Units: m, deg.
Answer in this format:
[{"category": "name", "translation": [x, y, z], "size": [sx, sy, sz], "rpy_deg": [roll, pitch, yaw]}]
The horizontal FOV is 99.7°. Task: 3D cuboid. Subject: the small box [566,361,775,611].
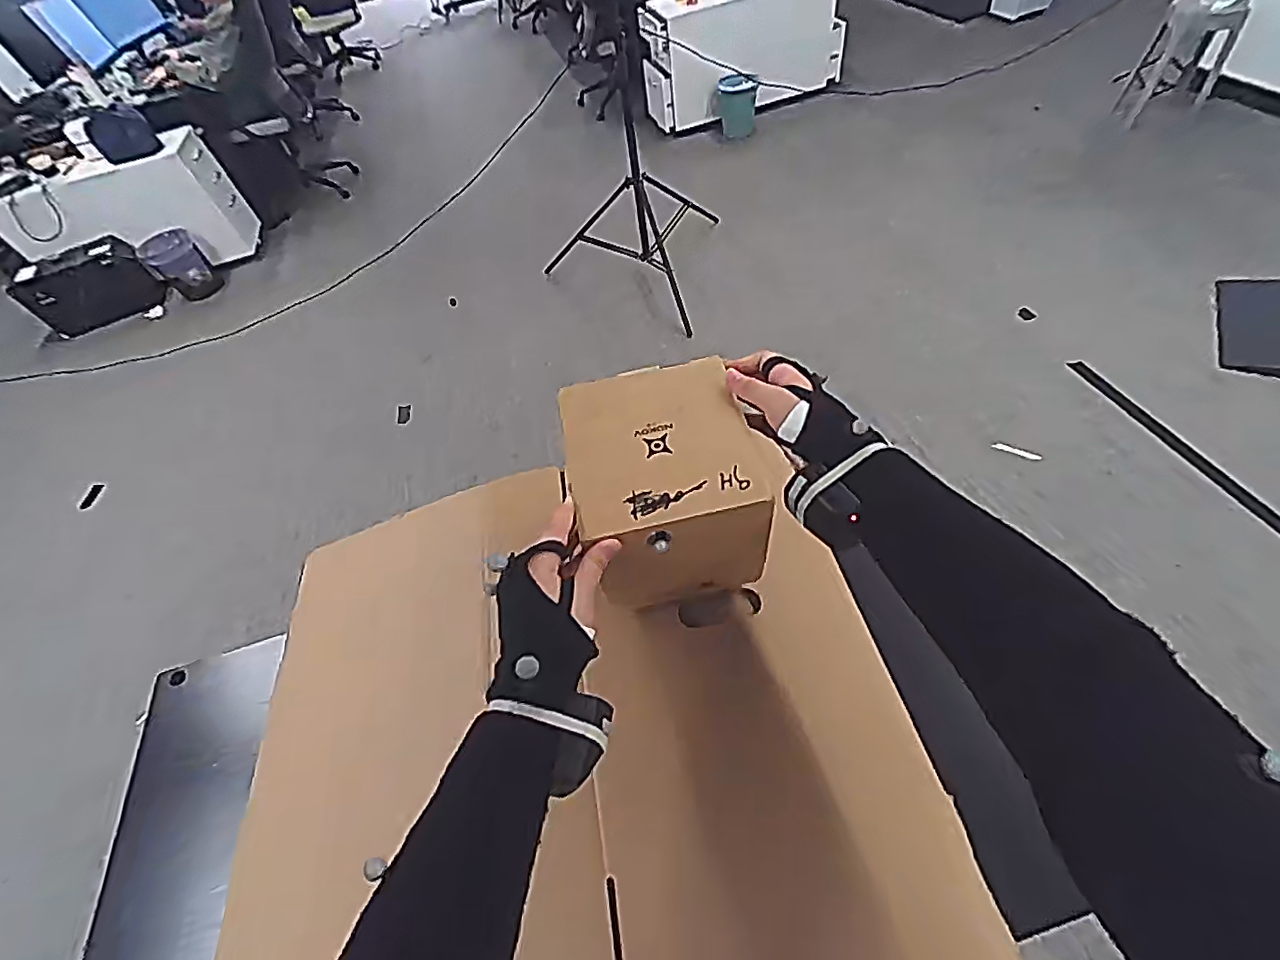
[{"category": "small box", "translation": [0.028, 0.011, 0.557], "size": [0.168, 0.176, 0.179], "rpy_deg": [-13, 54, 0]}]
